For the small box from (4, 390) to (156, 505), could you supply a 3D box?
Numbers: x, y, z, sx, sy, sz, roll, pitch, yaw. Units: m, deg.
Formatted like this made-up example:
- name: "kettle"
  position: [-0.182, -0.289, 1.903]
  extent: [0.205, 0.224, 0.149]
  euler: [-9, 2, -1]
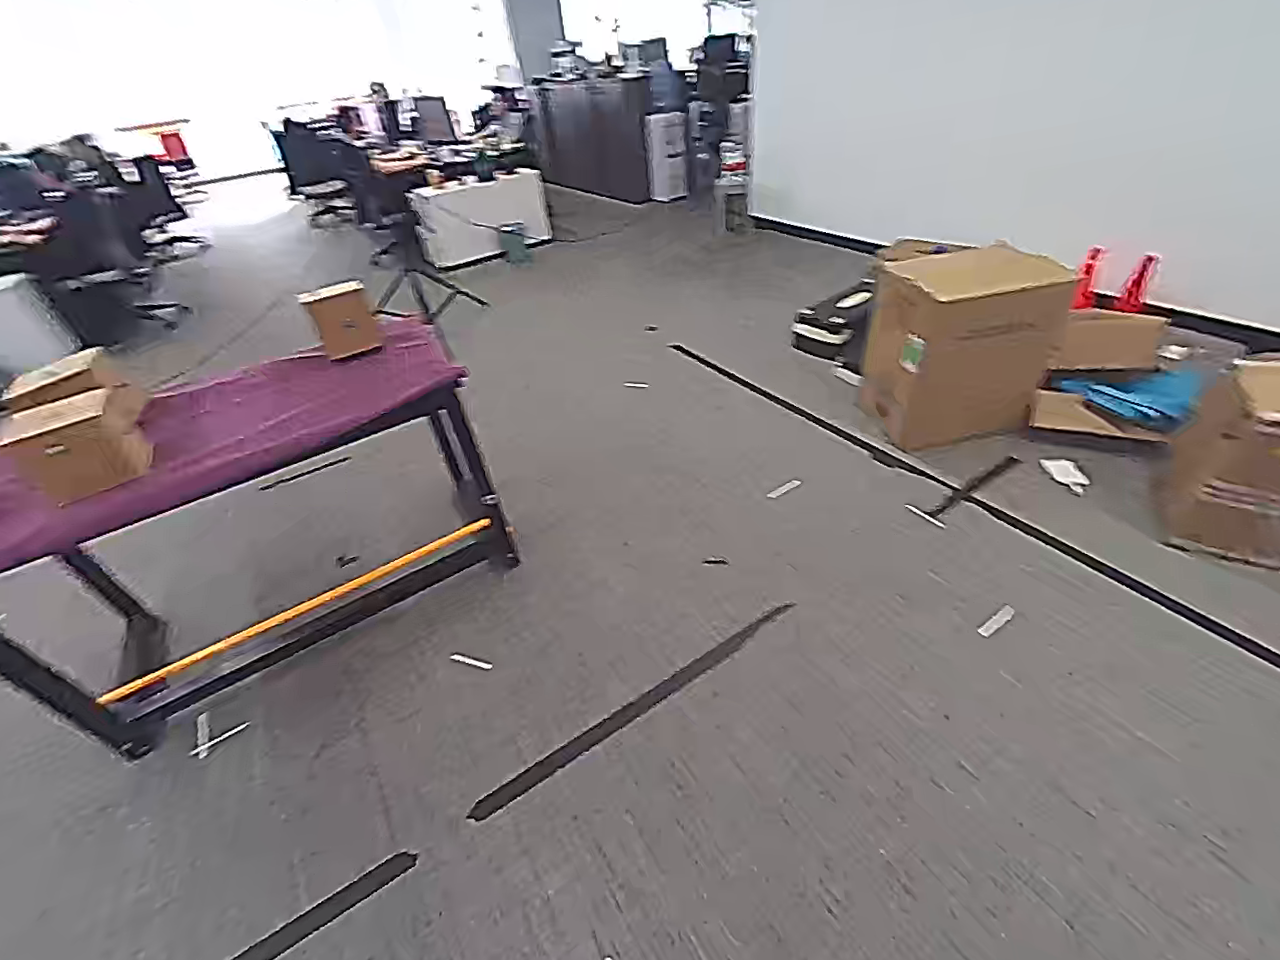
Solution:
- name: "small box"
  position: [-1.251, -0.074, 1.228]
  extent: [0.179, 0.176, 0.168]
  euler: [-27, 43, -23]

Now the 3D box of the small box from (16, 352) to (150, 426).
- name: "small box"
  position: [-1.422, -0.207, 1.399]
  extent: [0.179, 0.168, 0.176]
  euler: [-29, 42, -15]
